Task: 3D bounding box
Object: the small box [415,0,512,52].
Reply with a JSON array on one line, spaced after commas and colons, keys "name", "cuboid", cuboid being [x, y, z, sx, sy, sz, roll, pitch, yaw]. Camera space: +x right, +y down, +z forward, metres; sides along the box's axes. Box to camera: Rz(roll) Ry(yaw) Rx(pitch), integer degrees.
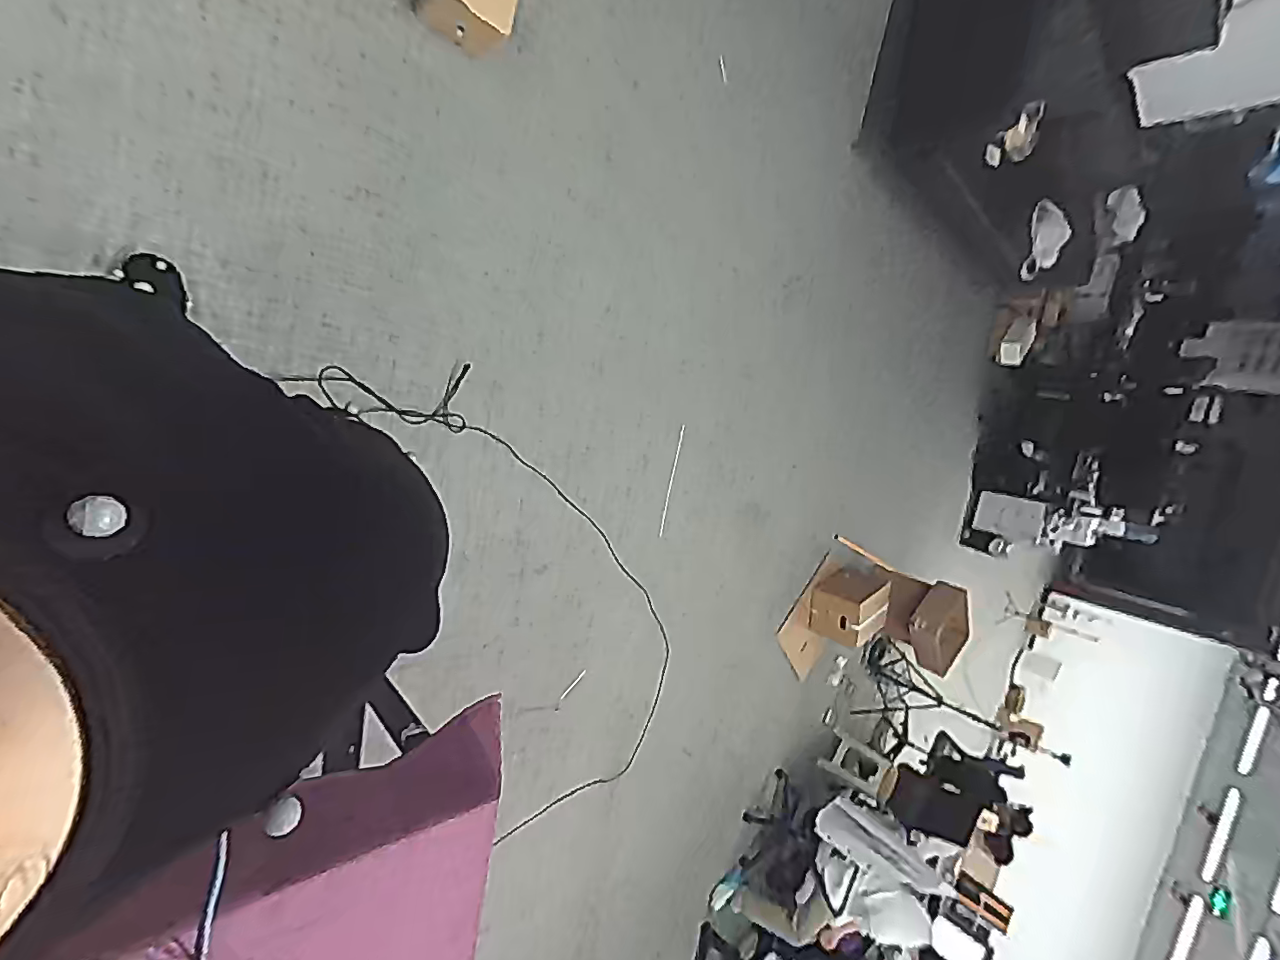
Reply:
[{"name": "small box", "cuboid": [-0.415, -1.174, 1.284, 0.168, 0.176, 0.179, 10, 96, -45]}]
